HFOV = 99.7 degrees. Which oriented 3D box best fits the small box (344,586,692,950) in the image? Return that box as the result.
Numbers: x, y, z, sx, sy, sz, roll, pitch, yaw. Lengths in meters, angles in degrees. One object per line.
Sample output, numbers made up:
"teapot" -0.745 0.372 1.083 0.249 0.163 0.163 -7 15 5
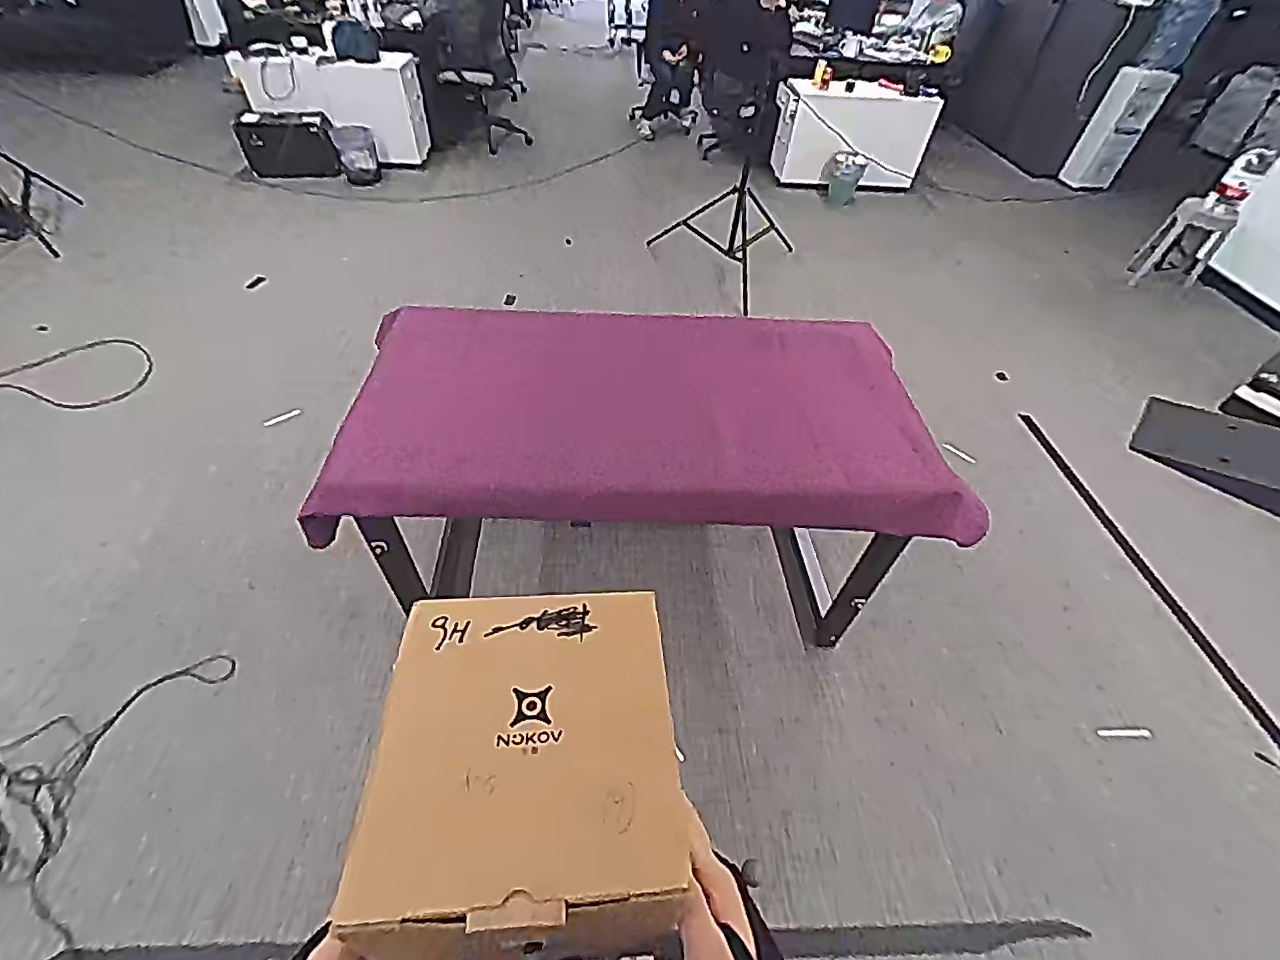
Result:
"small box" -0.064 0.194 0.365 0.168 0.176 0.179 -1 43 -6
